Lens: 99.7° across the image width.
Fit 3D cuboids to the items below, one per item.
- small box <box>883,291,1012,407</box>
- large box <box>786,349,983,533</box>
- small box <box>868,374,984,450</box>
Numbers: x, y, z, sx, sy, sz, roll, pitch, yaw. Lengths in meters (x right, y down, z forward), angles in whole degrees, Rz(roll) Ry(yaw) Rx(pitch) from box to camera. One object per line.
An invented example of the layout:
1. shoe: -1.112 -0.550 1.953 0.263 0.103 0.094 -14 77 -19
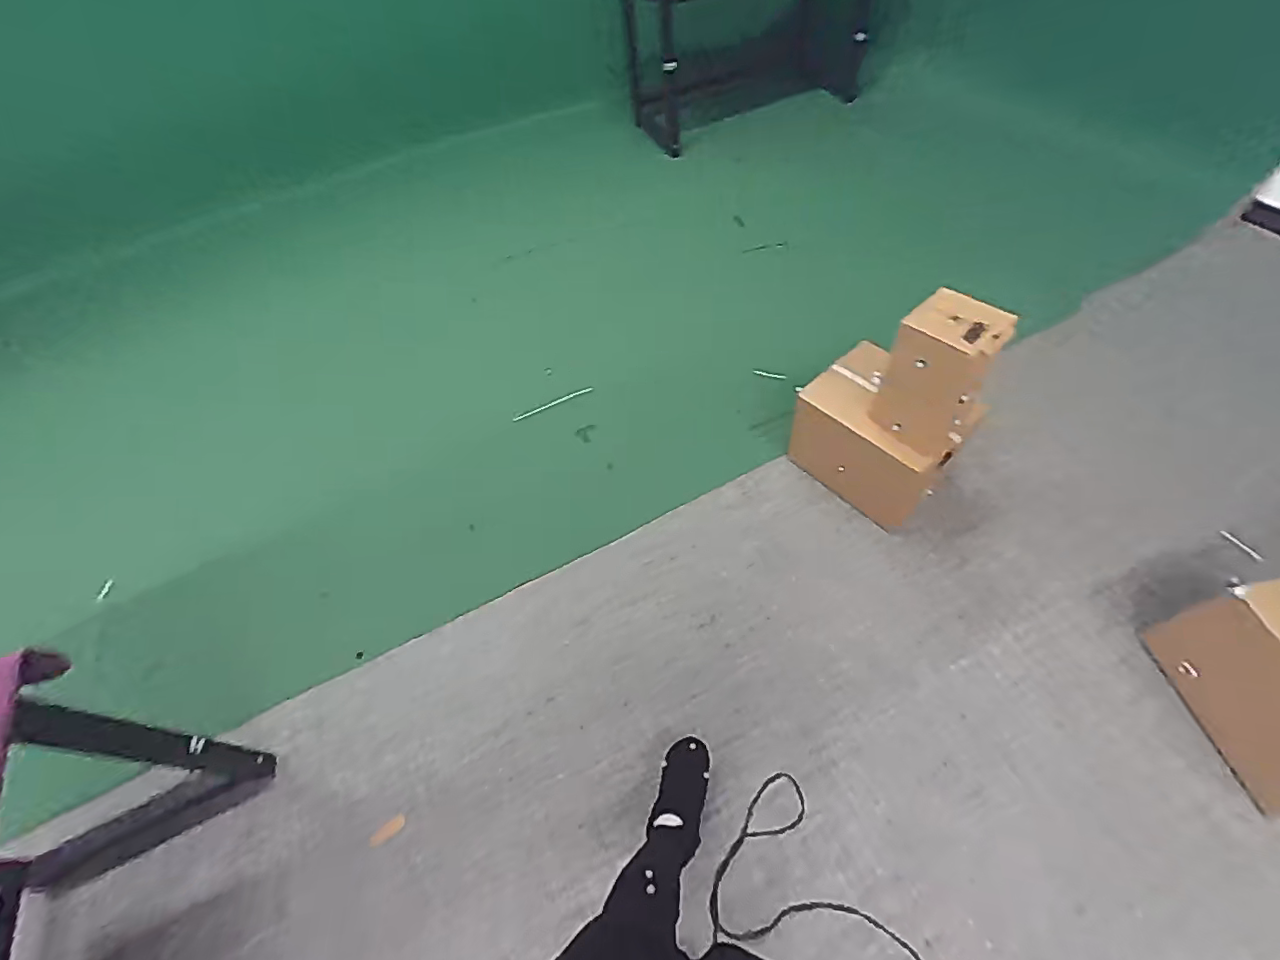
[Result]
1. small box: 0.697 -0.294 1.244 0.168 0.176 0.179 -37 57 -17
2. large box: 0.705 -0.118 1.624 0.320 0.320 0.408 -37 57 -19
3. small box: 0.717 -0.200 1.377 0.168 0.176 0.179 -33 57 -15
